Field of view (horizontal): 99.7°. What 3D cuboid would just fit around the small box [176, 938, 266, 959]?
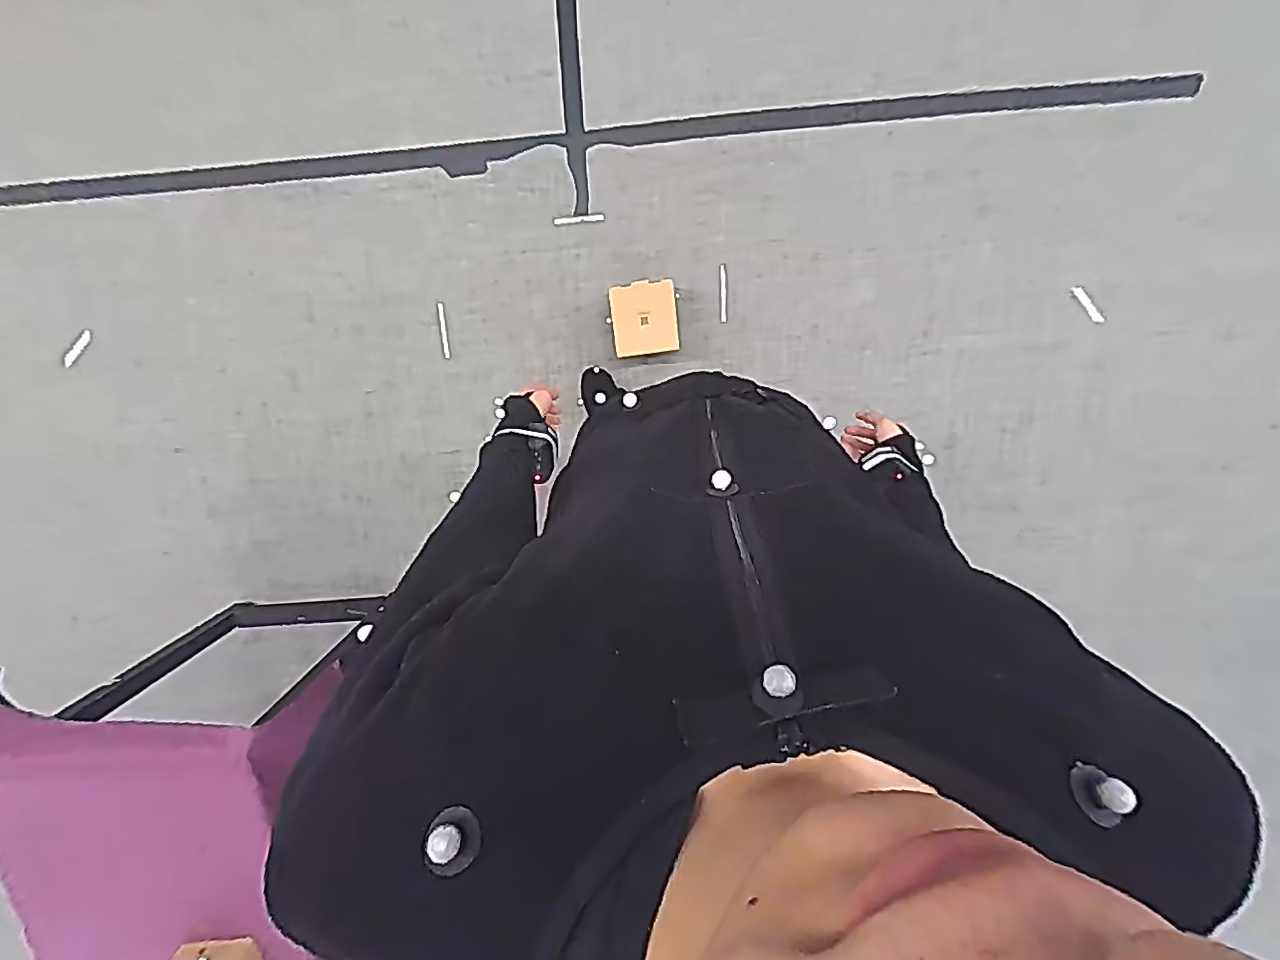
[{"bbox_3d":[-0.882,1.083,1.095,0.168,0.176,0.179,-8,103,3],"label":"small box"}]

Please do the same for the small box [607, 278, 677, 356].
[{"bbox_3d":[0.010,-0.433,1.448,0.168,0.176,0.179,-7,104,2],"label":"small box"}]
